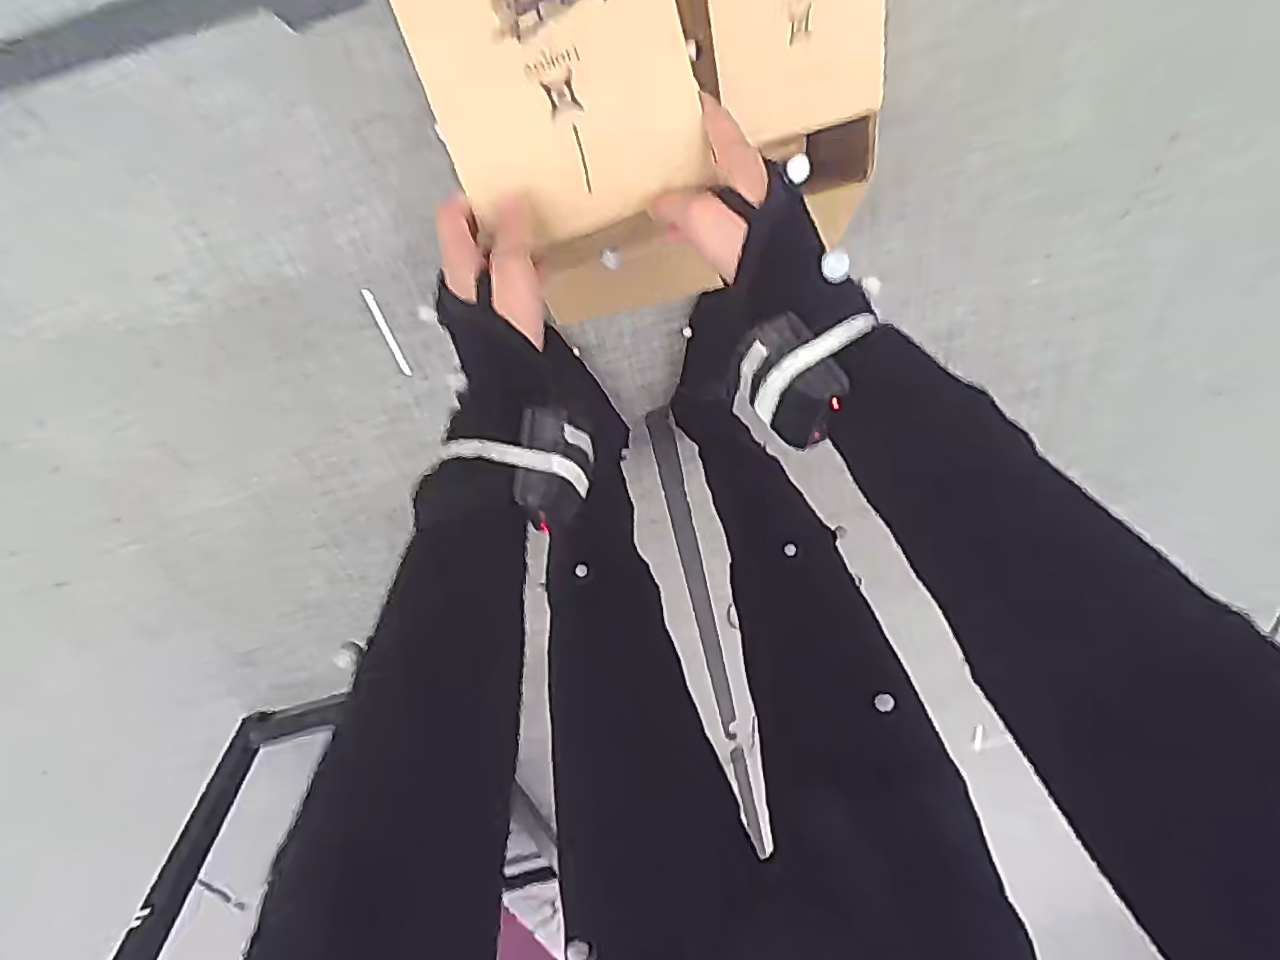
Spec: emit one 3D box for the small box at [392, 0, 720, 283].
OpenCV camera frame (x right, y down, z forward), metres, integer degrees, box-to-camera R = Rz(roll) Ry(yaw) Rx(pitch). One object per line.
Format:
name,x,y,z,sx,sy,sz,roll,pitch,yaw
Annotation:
small box,-0.050,-0.267,0.417,0.168,0.176,0.179,-18,107,6
